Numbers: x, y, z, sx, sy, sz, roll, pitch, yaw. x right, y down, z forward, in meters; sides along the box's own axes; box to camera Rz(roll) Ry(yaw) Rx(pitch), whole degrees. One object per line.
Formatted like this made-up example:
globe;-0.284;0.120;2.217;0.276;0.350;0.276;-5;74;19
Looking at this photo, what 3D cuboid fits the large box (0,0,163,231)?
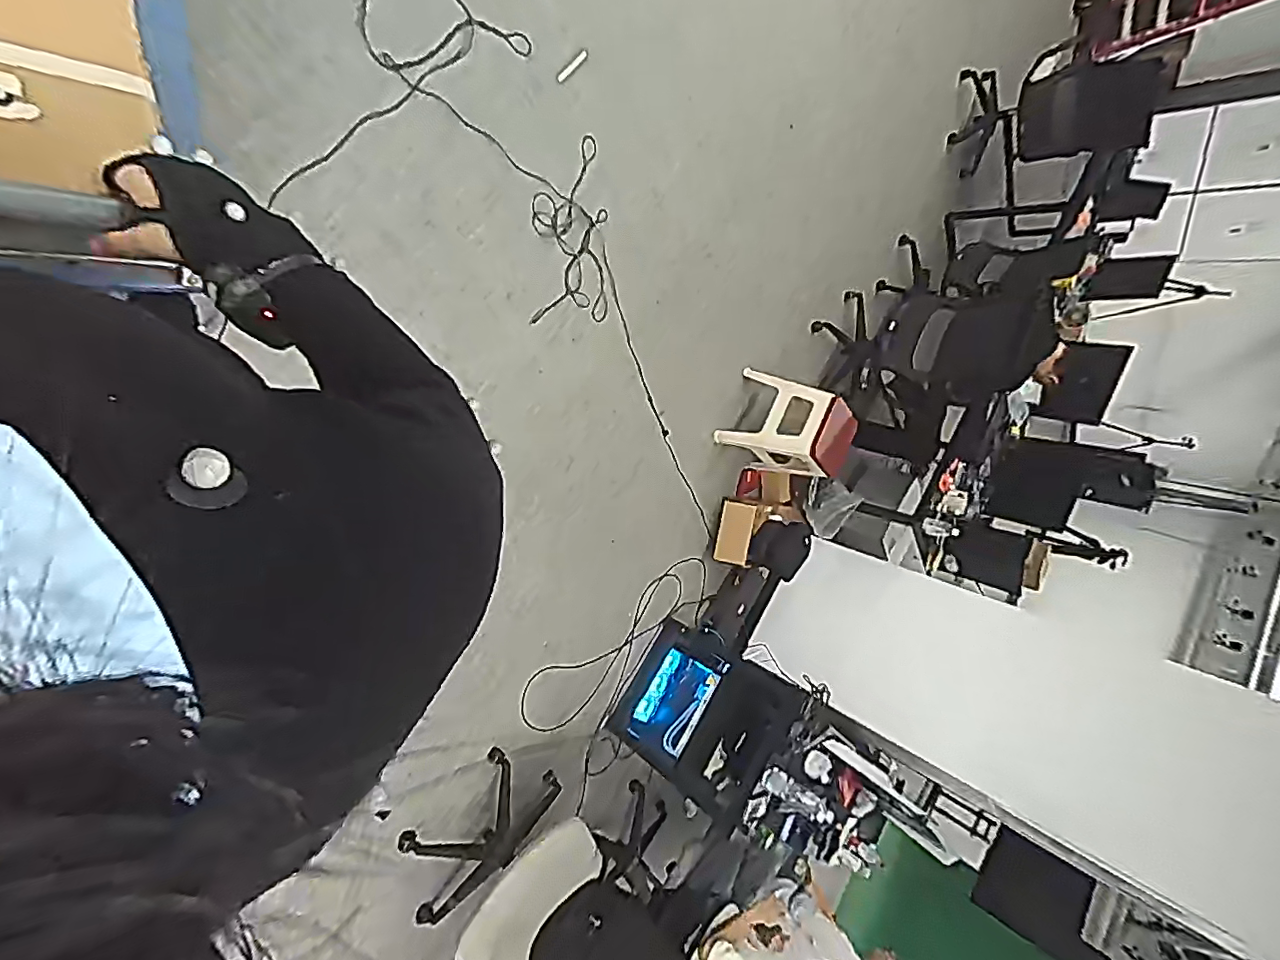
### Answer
large box;-0.893;-0.506;0.661;0.408;0.320;0.320;-13;114;-44
